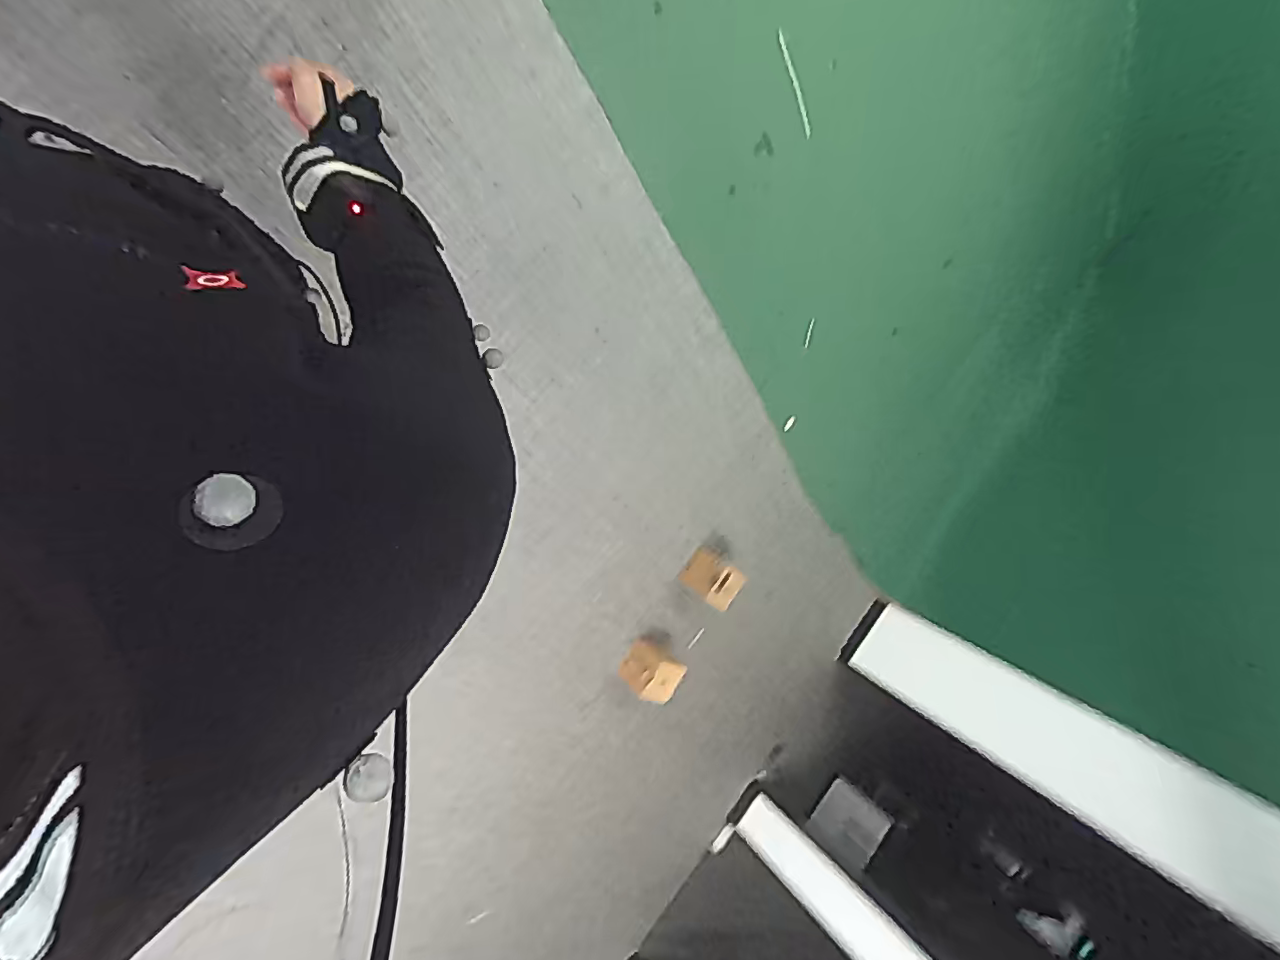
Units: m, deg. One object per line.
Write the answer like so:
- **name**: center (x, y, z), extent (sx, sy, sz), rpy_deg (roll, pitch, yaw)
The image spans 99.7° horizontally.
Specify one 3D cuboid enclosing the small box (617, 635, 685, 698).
- **small box**: center (0.041, 0.751, 2.181), extent (0.179, 0.176, 0.168), rpy_deg (33, 87, -43)
